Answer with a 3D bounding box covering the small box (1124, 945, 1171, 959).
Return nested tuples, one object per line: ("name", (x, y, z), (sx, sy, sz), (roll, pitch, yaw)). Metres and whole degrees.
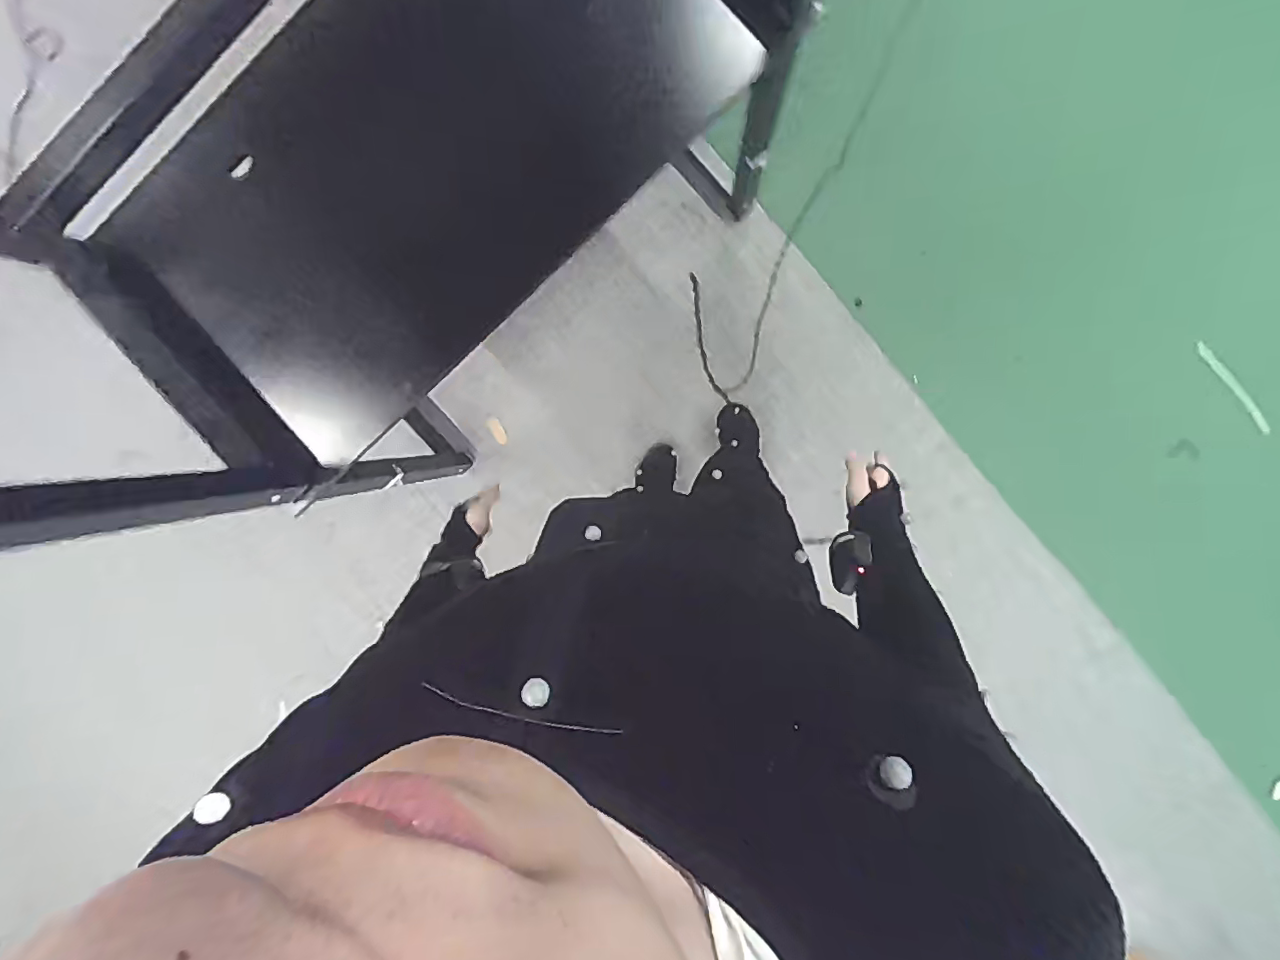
("small box", (1.503, 1.496, 1.538), (0.179, 0.176, 0.168), (-37, 91, 7))
